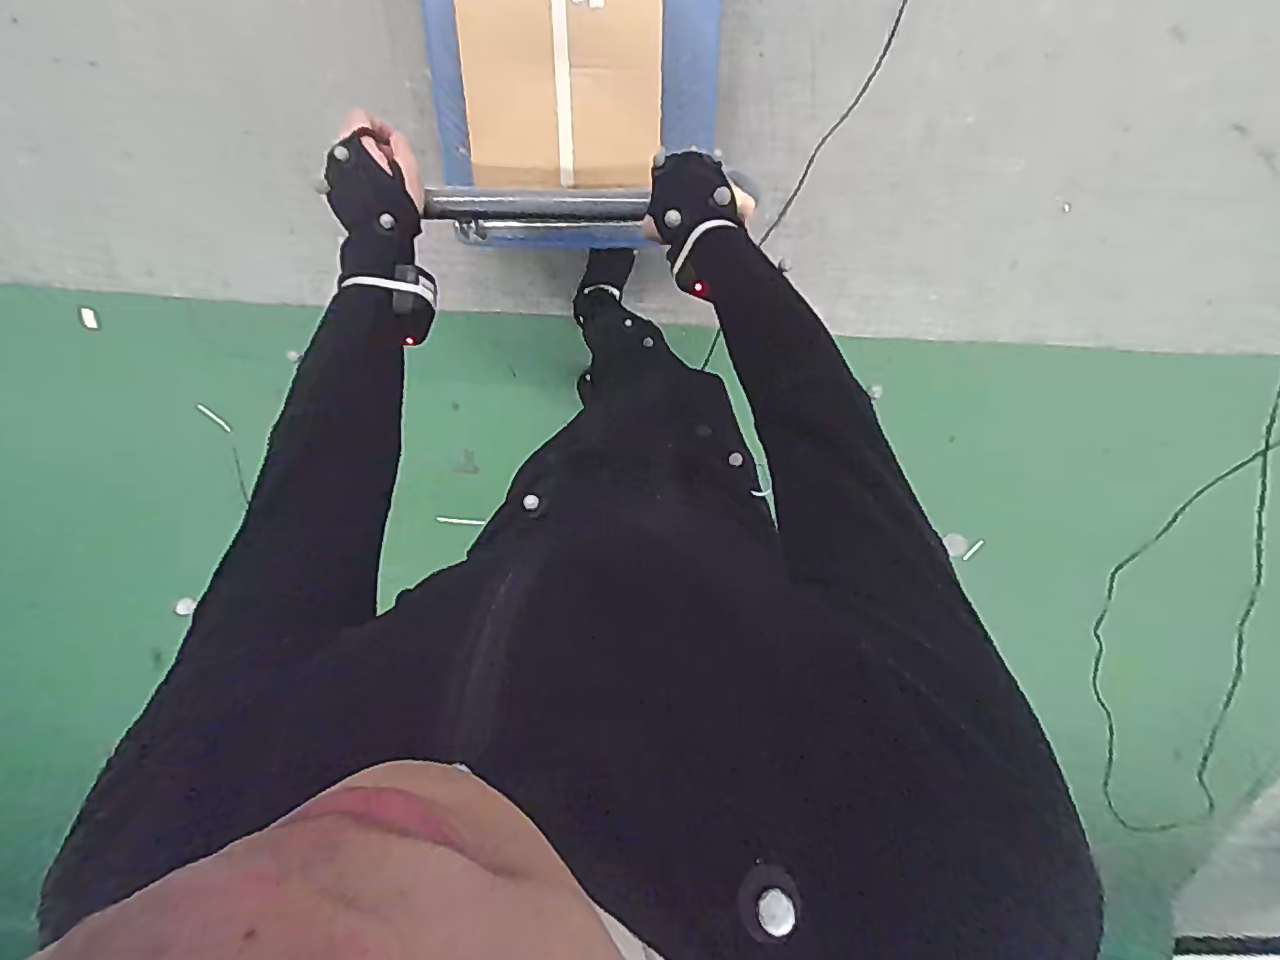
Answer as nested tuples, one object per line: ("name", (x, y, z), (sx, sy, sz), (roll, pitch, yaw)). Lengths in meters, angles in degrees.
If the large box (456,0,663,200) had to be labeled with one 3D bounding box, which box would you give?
("large box", (-0.121, -0.736, 0.962), (0.320, 0.320, 0.408), (-1, 114, -1))
